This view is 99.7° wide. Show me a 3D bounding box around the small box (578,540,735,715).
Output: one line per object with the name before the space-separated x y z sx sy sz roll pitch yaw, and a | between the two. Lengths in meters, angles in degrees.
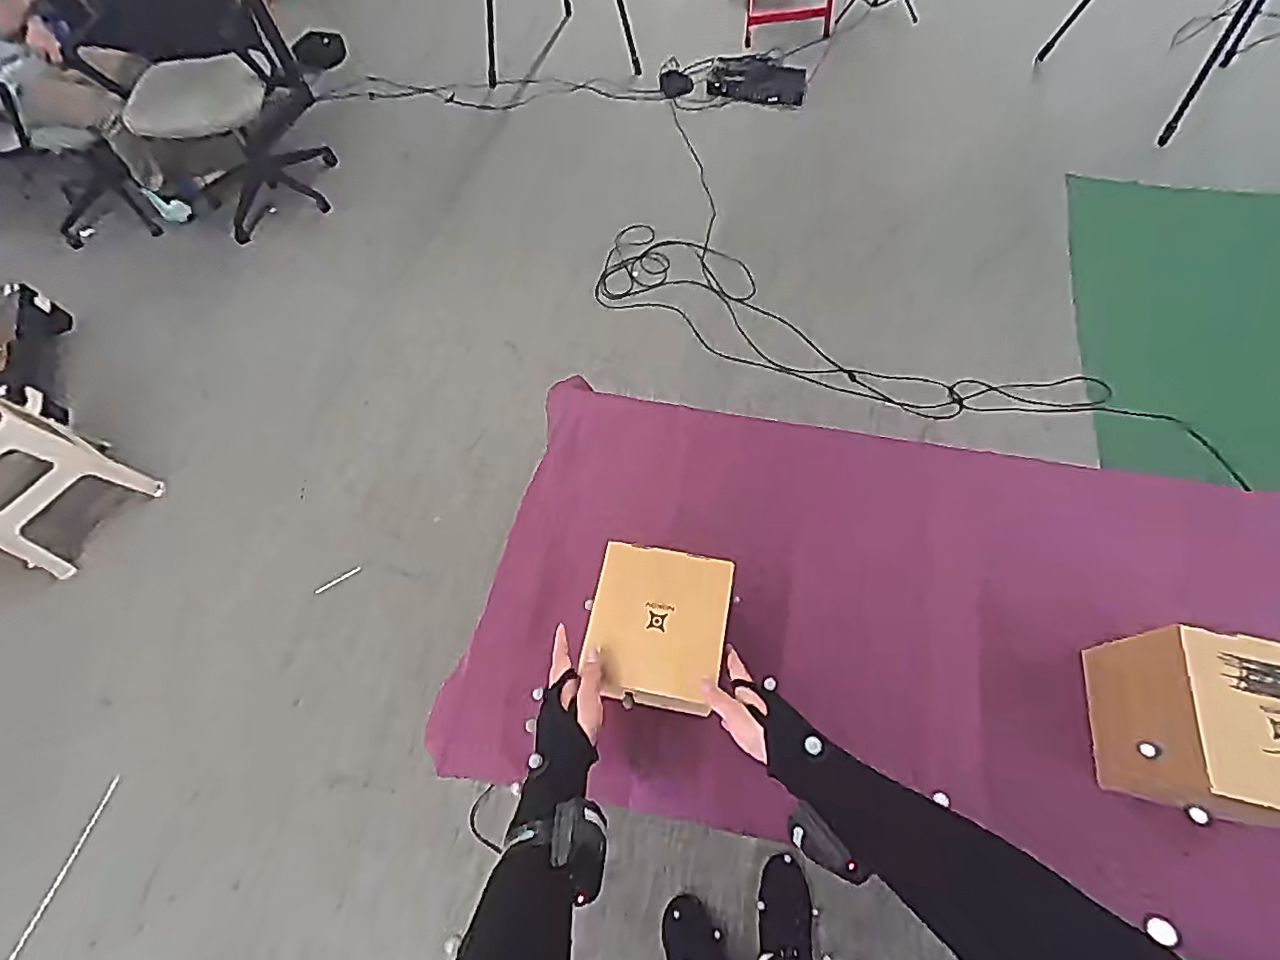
small box | 0.029 0.203 0.723 0.168 0.176 0.179 9 61 8
